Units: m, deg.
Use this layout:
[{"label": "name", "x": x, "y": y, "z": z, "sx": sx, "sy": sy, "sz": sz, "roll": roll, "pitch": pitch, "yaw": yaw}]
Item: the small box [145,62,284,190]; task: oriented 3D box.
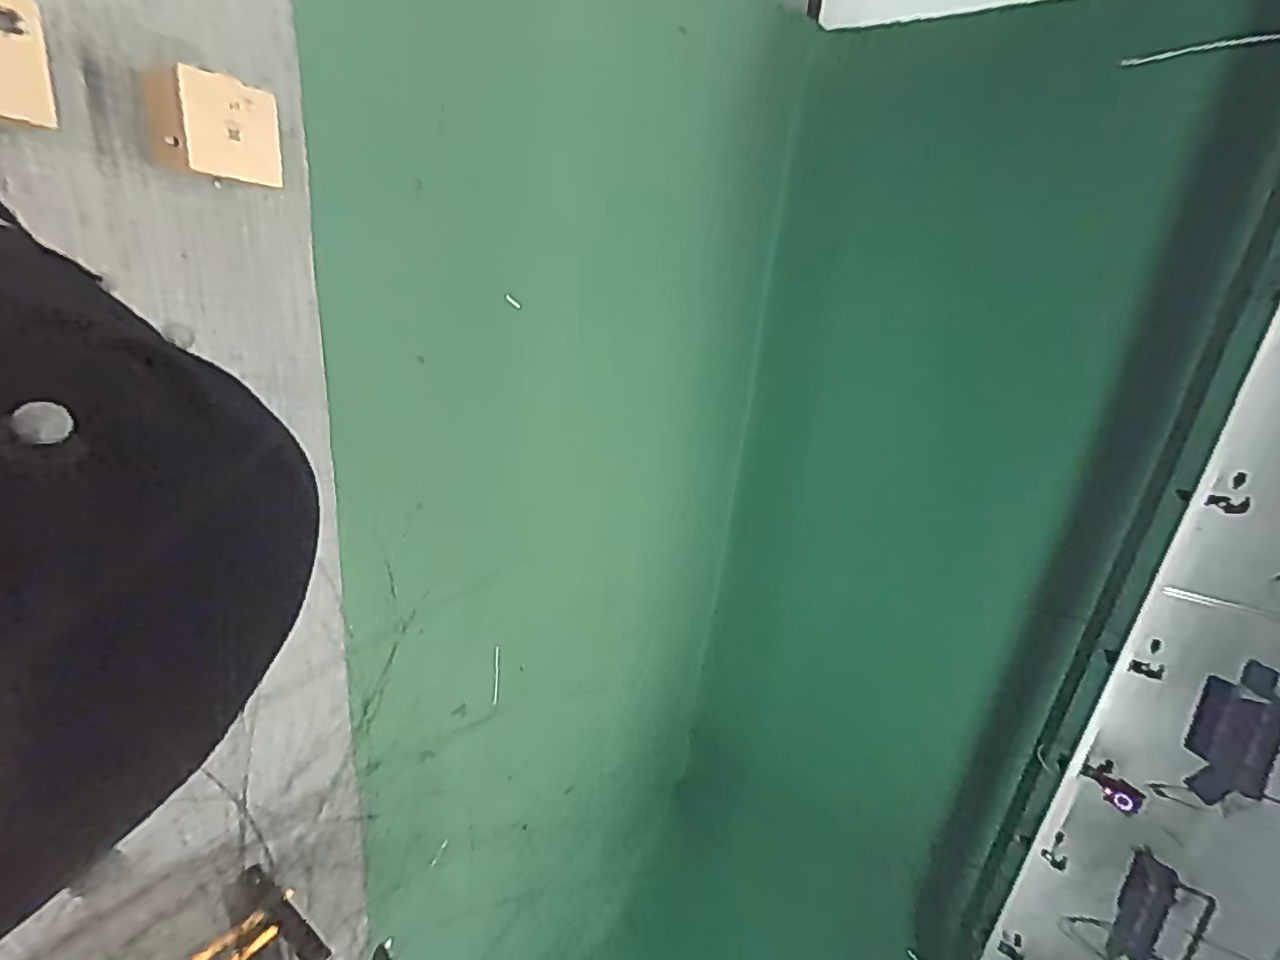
[{"label": "small box", "x": -0.852, "y": -0.699, "z": 1.088, "sx": 0.168, "sy": 0.176, "sz": 0.179, "roll": -21, "pitch": 123, "yaw": -55}]
